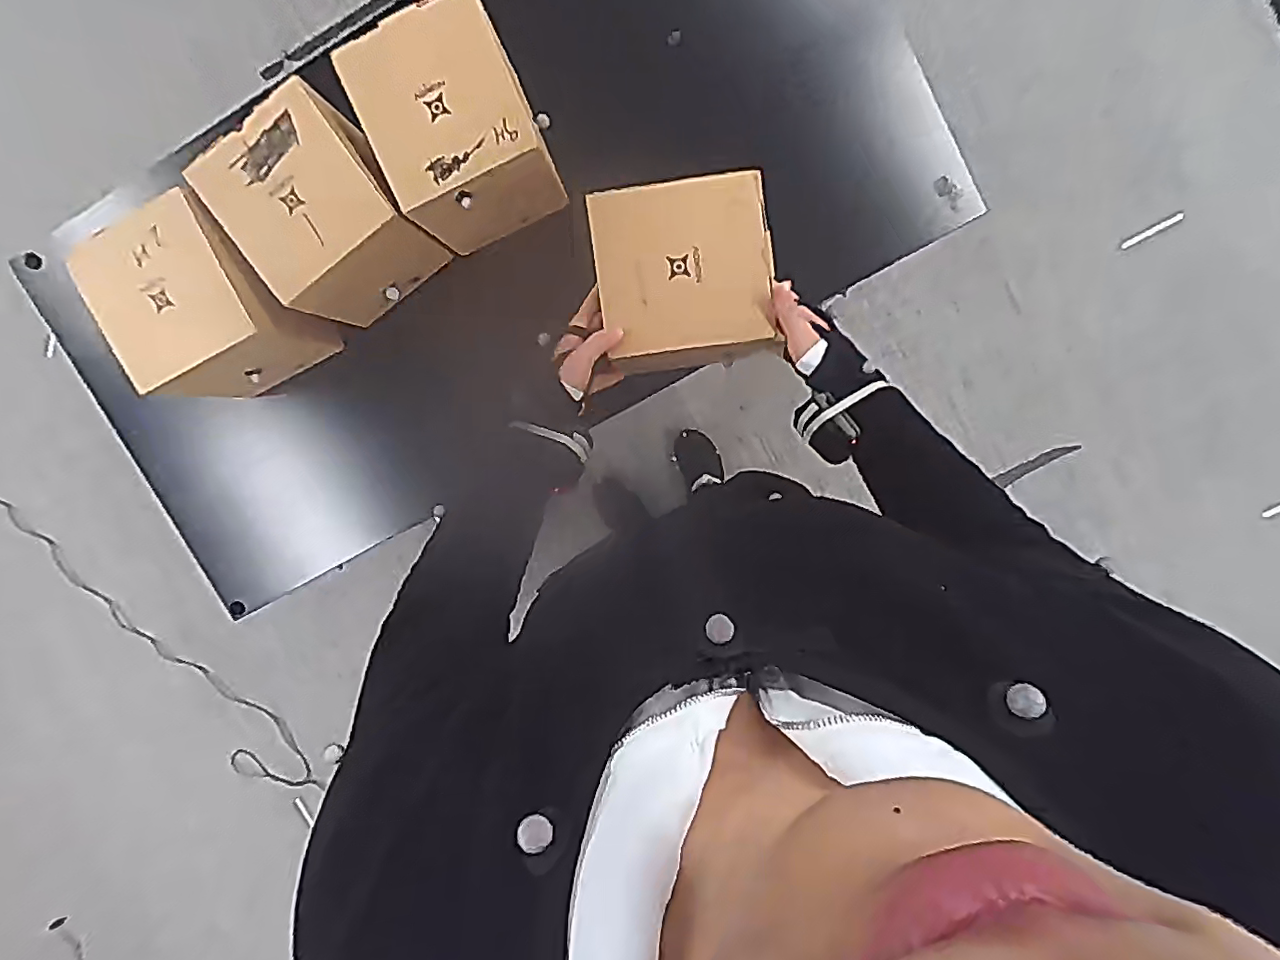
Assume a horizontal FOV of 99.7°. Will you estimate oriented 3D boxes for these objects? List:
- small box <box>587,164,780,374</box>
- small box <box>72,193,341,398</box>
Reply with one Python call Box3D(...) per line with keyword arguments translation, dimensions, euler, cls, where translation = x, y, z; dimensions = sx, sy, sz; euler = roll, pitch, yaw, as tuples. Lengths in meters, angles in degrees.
Box3D(translation=(0.046, -0.222, 0.614), dimensions=(0.179, 0.176, 0.168), euler=(-8, 93, 4), cls="small box")
Box3D(translation=(-0.527, -0.216, 0.688), dimensions=(0.168, 0.176, 0.179), euler=(-26, 94, 6), cls="small box")
